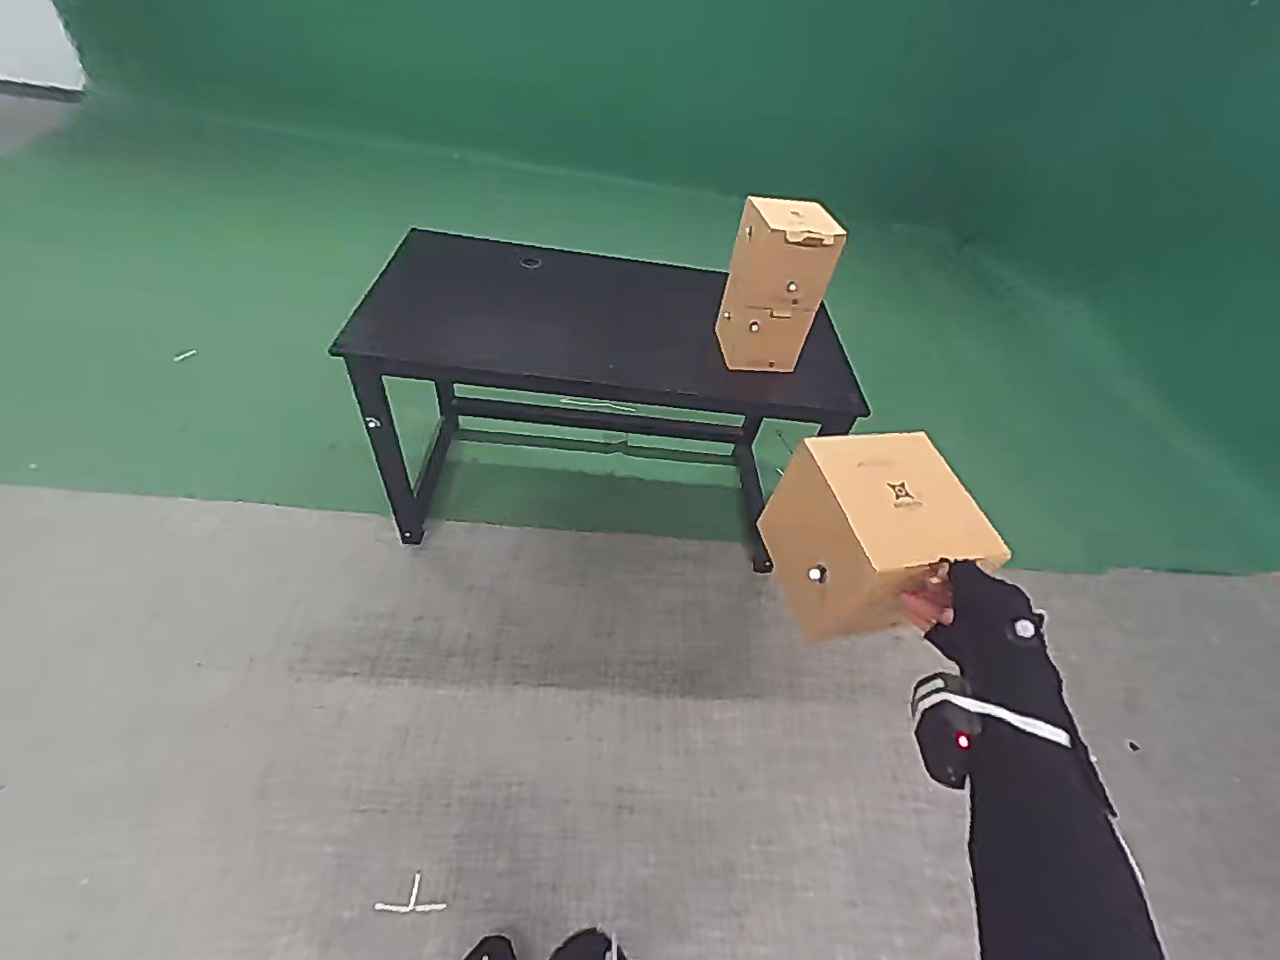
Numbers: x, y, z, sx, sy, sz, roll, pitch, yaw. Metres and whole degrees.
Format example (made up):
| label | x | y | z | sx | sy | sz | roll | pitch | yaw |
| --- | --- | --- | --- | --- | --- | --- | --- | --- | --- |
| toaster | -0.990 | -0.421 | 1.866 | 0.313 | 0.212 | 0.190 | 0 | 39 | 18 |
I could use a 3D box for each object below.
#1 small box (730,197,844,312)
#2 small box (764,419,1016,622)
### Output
| label | x | y | z | sx | sy | sz | roll | pitch | yaw |
| --- | --- | --- | --- | --- | --- | --- | --- | --- | --- |
| small box | 0.309 | -0.491 | 1.181 | 0.168 | 0.176 | 0.179 | -1 | 48 | -10 |
| small box | 0.267 | 0.051 | 0.625 | 0.168 | 0.176 | 0.179 | -4 | 52 | -15 |
